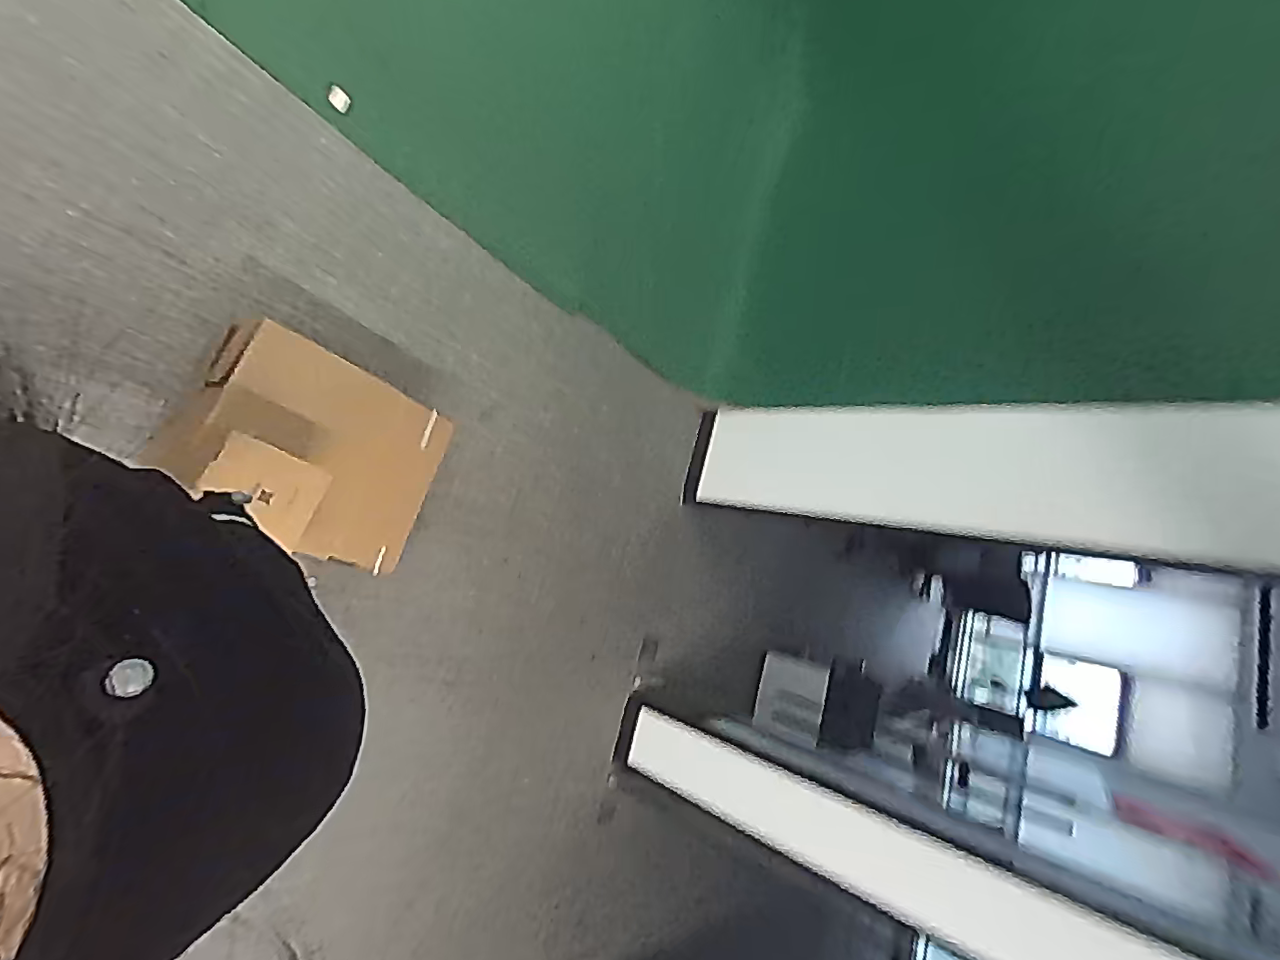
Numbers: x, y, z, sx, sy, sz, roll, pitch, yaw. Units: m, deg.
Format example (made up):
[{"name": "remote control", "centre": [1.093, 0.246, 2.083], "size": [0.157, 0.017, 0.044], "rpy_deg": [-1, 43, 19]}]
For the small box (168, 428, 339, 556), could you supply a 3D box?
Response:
[{"name": "small box", "centre": [-0.694, 0.018, 0.969], "size": [0.179, 0.176, 0.168], "rpy_deg": [39, 67, -46]}]
